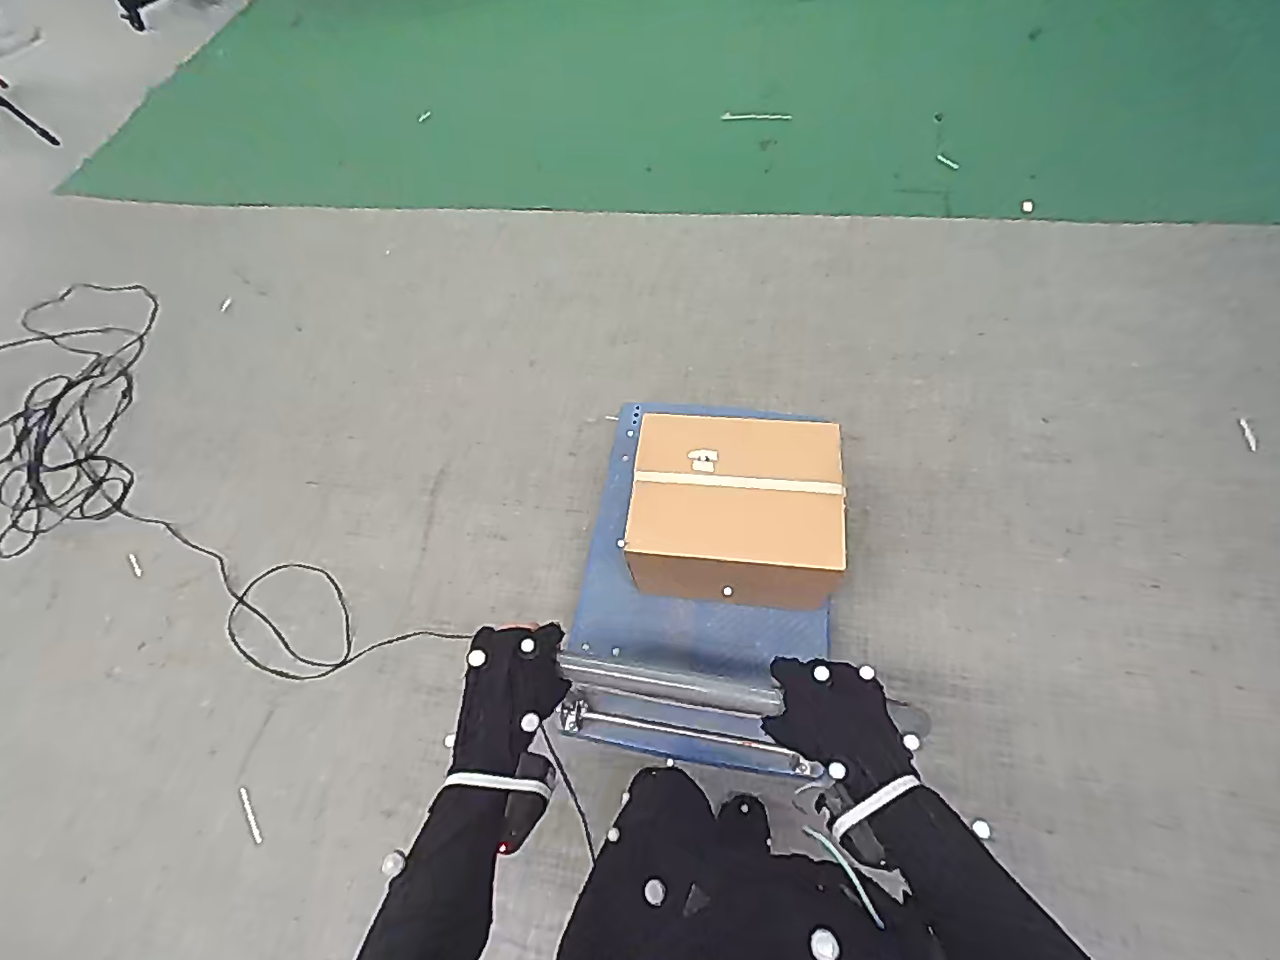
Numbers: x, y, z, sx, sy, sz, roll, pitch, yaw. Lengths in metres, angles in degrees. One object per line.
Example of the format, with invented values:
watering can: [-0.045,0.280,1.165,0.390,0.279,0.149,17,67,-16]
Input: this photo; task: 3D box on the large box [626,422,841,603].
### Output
large box: [0.203,0.081,1.204,0.408,0.320,0.320,3,63,9]
